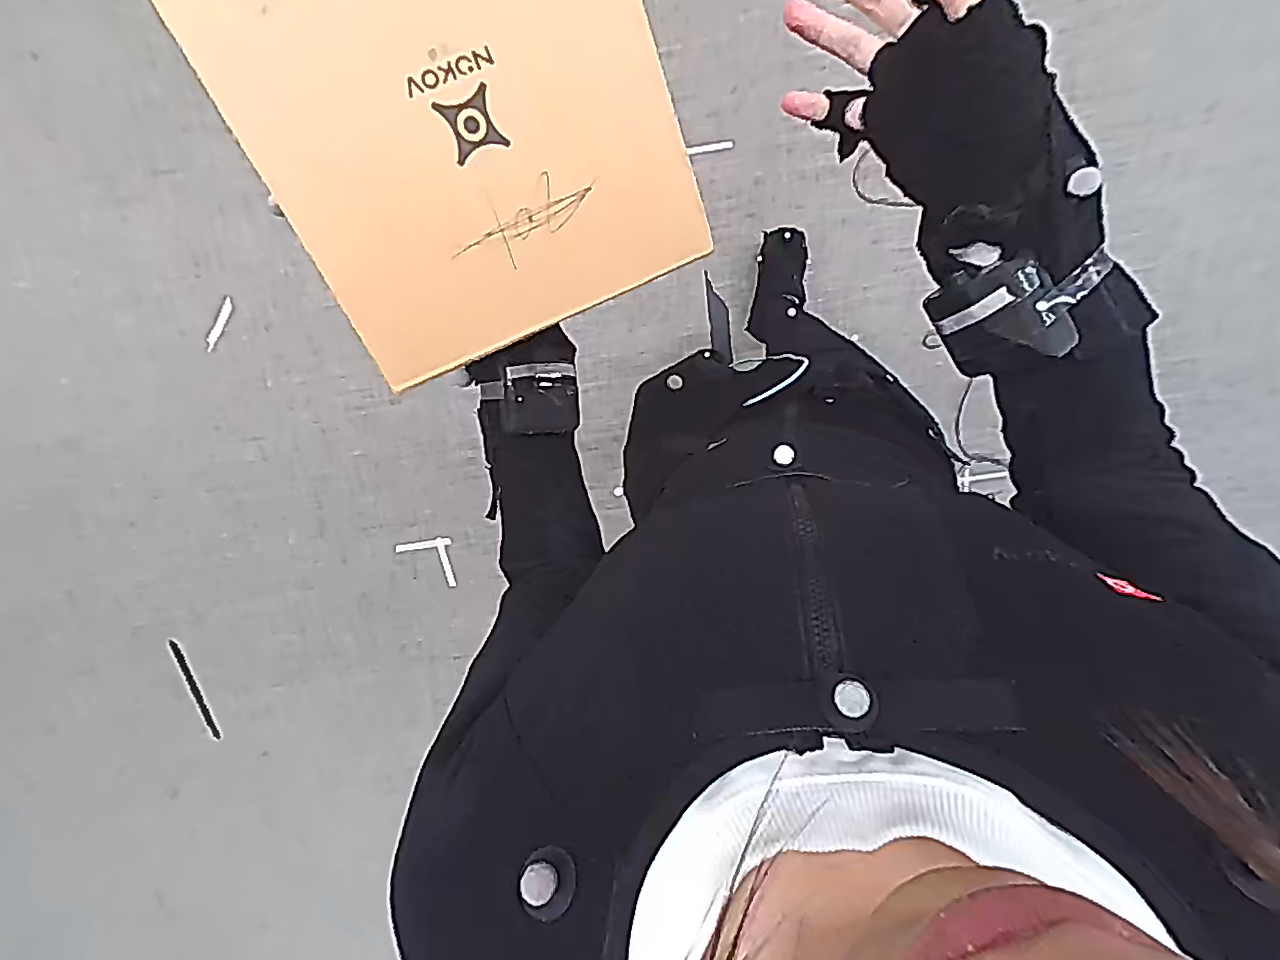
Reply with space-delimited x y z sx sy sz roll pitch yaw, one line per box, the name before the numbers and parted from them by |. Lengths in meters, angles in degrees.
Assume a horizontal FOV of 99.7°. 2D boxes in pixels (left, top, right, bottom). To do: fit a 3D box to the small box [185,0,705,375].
small box | -0.089 -0.181 0.302 0.168 0.176 0.179 -25 115 -3
